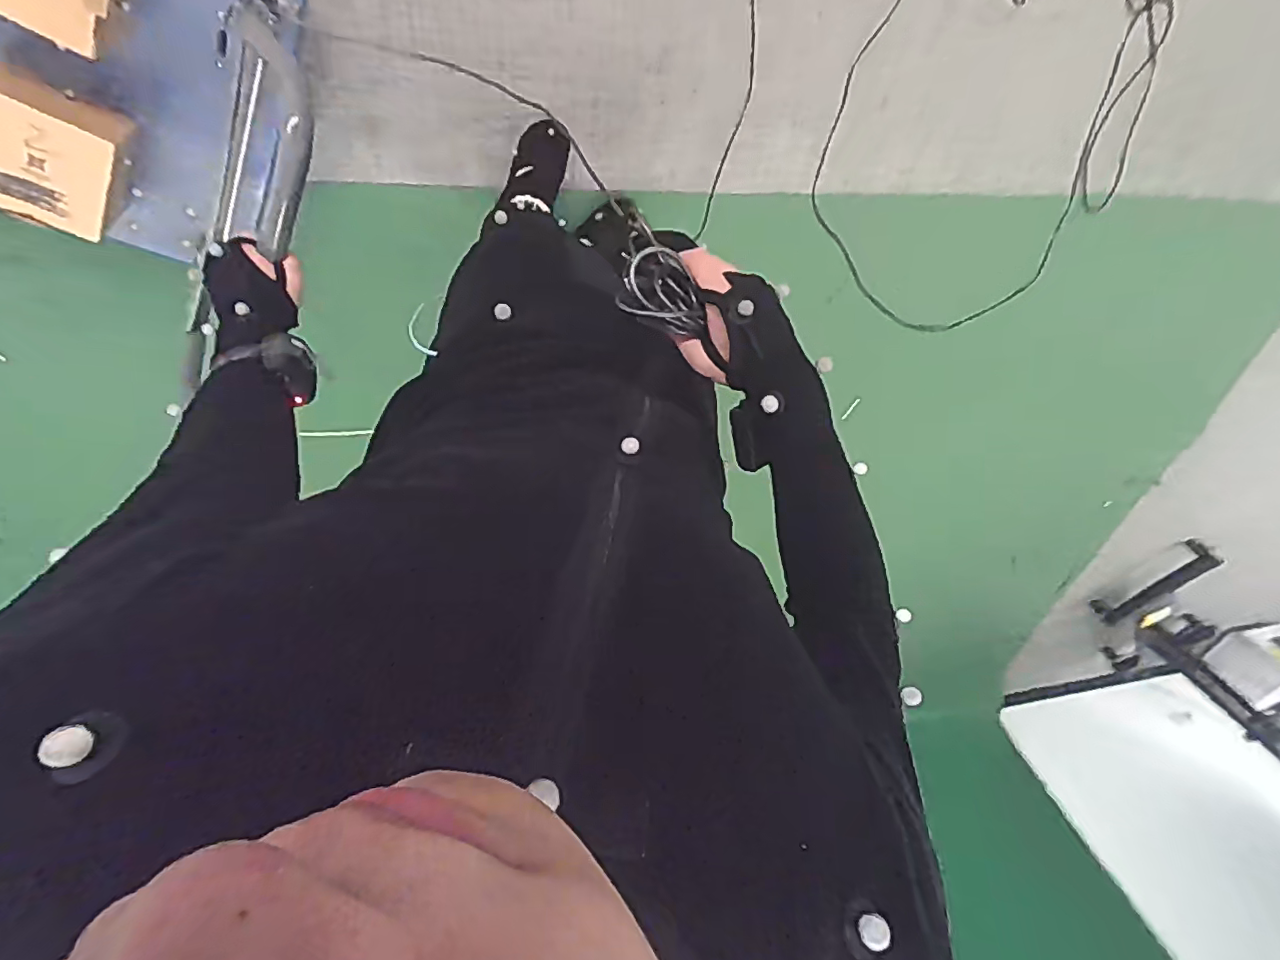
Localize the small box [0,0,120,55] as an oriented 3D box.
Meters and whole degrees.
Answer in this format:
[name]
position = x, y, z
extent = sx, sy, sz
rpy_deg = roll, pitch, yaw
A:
[small box]
position = -0.852, -0.738, 0.746
extent = 0.179, 0.176, 0.168
rpy_deg = 13, 123, -40
